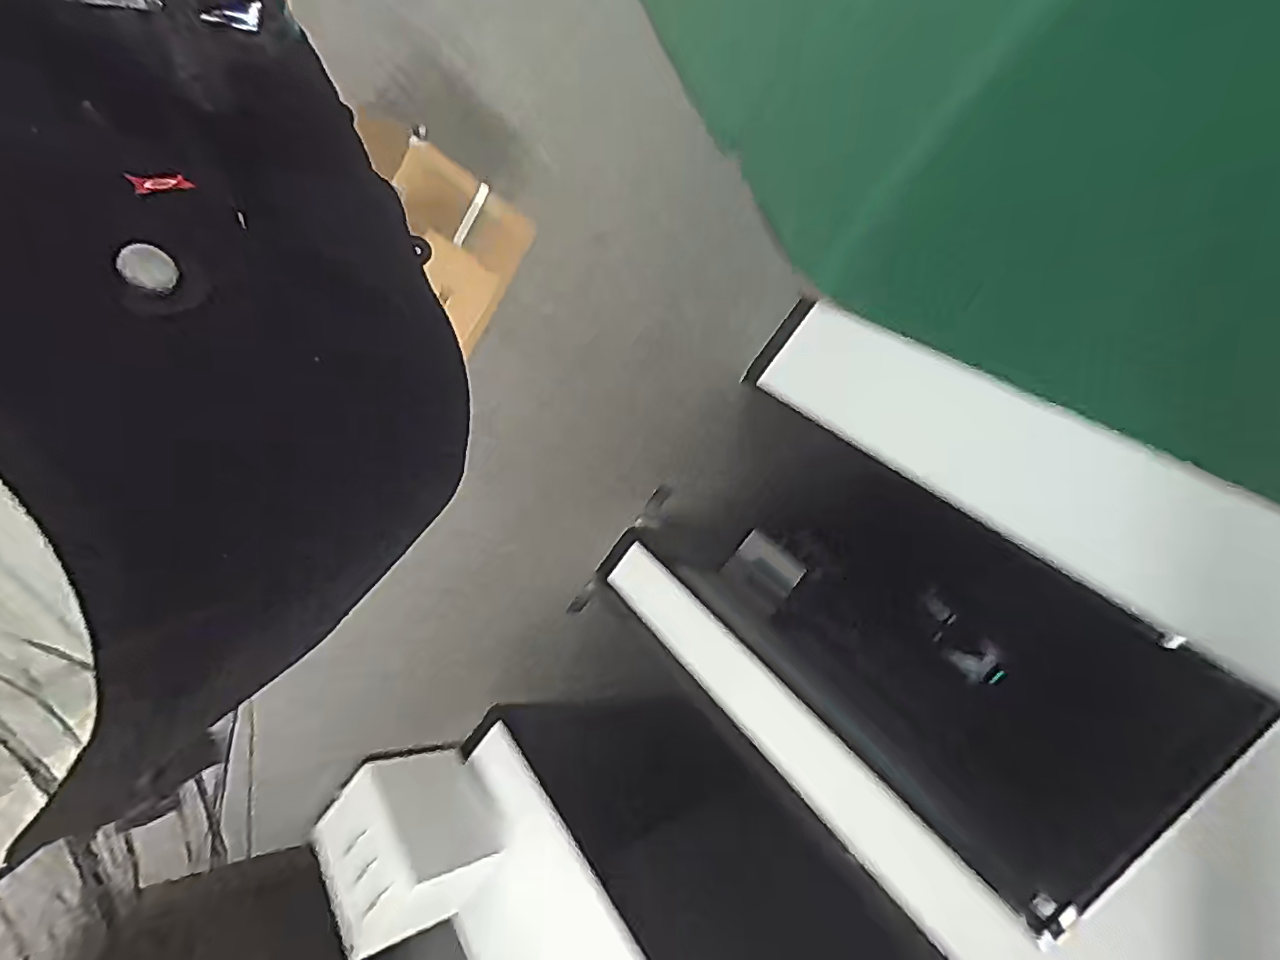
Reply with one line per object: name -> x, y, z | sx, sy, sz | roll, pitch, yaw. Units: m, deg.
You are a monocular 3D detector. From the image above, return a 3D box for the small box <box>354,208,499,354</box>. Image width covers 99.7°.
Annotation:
small box -> -0.410, -0.378, 1.024 | 0.179, 0.176, 0.168 | -54, 144, 9
